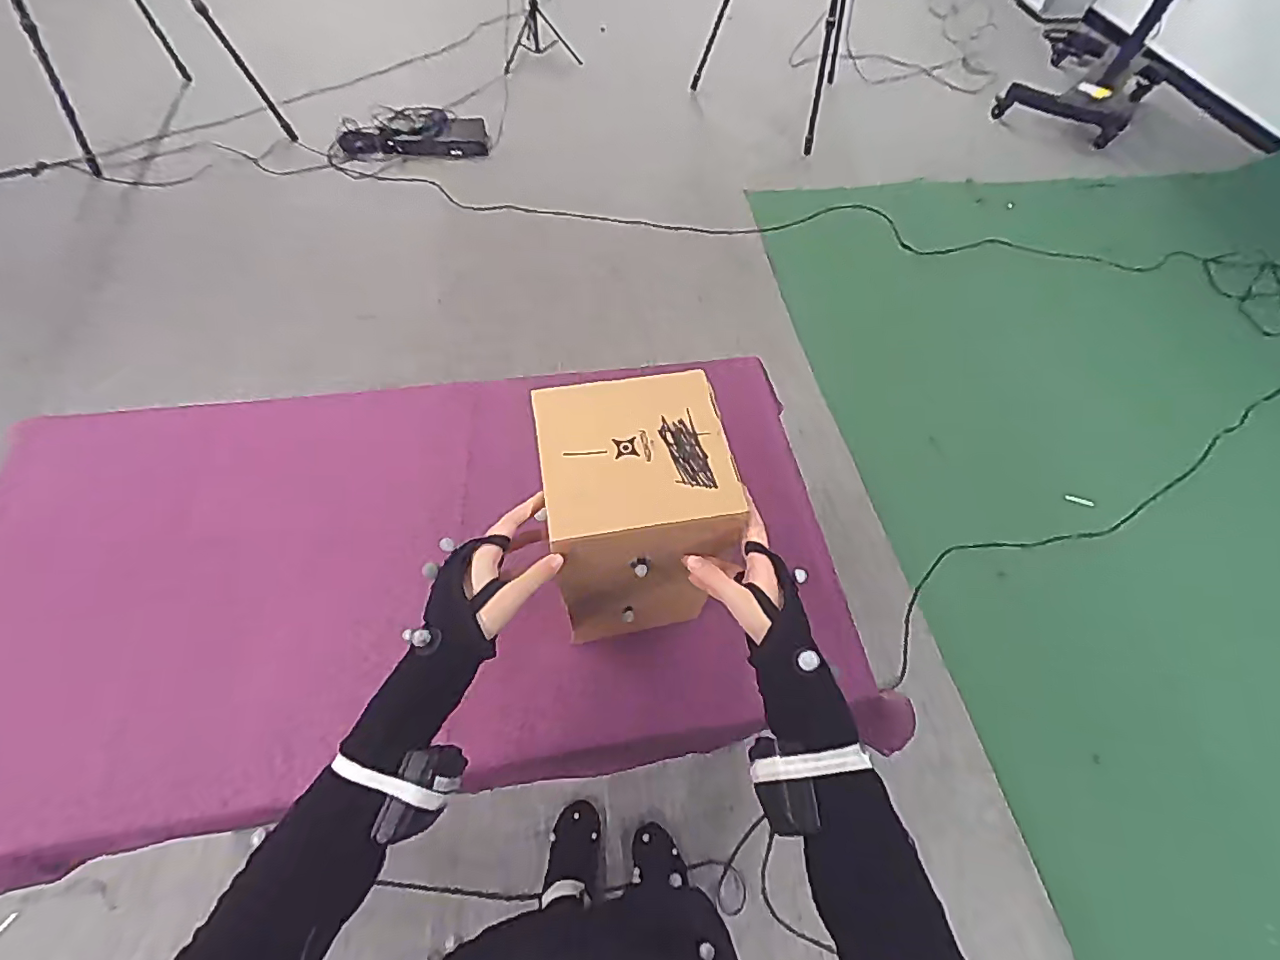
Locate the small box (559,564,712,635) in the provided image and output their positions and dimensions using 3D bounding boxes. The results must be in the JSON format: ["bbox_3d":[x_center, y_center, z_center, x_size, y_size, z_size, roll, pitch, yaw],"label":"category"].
[{"bbox_3d":[-0.019,0.092,0.711,0.179,0.176,0.168,-9,60,-8],"label":"small box"}]

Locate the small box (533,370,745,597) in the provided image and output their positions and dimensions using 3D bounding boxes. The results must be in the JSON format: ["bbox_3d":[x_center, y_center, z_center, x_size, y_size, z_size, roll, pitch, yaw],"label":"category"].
[{"bbox_3d":[-0.010,0.009,0.569,0.179,0.176,0.168,-8,59,-8],"label":"small box"}]
